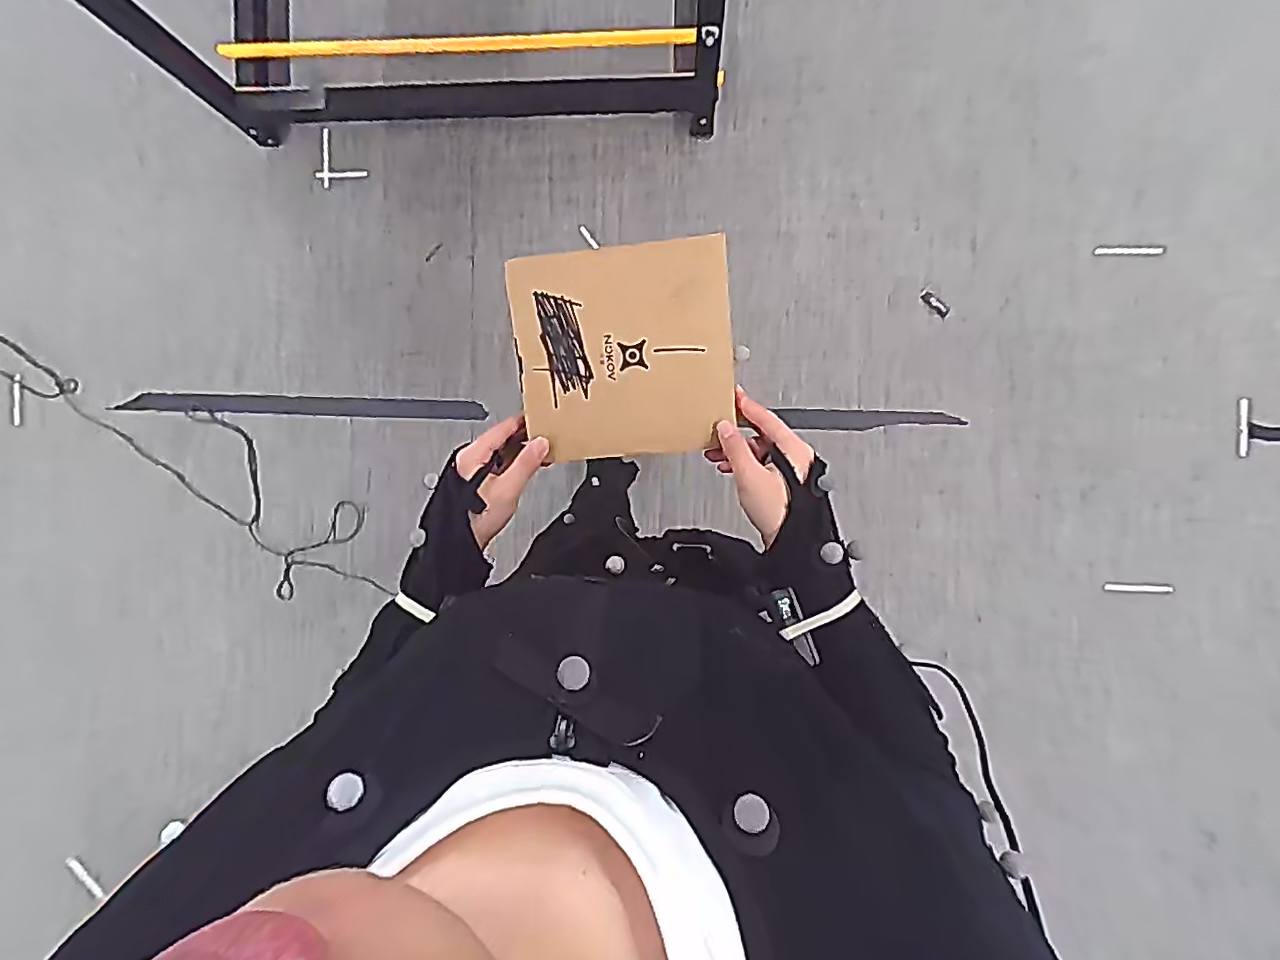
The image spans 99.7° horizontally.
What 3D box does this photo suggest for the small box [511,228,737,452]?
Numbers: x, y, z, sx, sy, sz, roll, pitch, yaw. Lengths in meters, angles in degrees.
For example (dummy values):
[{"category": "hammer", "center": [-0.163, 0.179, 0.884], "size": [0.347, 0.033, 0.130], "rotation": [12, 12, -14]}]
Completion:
[{"category": "small box", "center": [-0.001, -0.121, 0.509], "size": [0.179, 0.176, 0.168], "rotation": [-3, 101, 9]}]
